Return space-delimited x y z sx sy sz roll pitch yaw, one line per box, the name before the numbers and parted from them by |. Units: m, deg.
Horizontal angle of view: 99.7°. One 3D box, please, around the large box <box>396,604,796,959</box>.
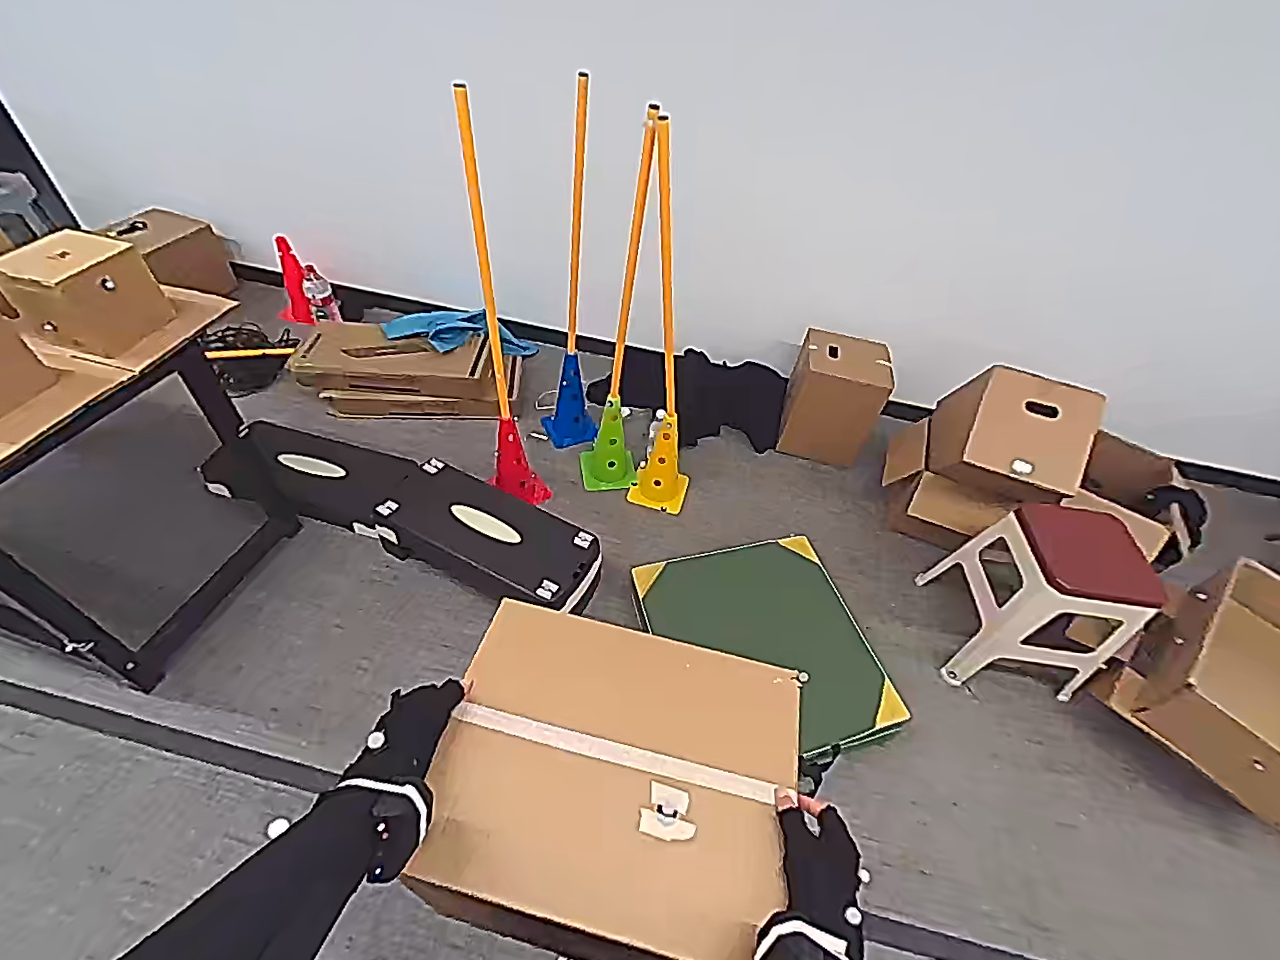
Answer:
large box | -0.036 0.418 0.726 0.408 0.320 0.320 13 46 6
